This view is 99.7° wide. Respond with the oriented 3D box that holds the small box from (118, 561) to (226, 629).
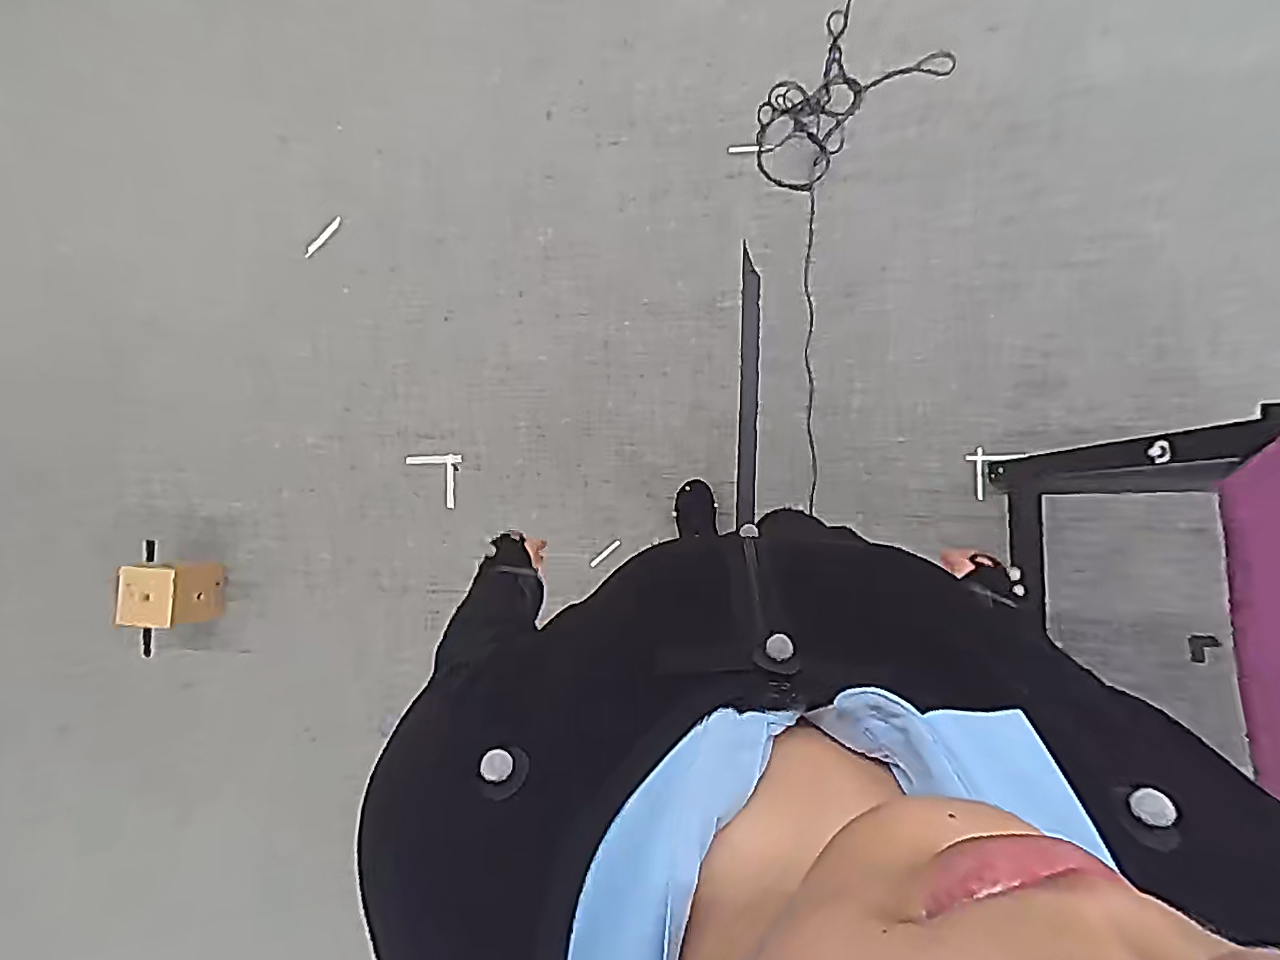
[{"bbox_3d":[-1.373,0.332,1.596,0.179,0.176,0.168,3,88,7],"label":"small box"}]
